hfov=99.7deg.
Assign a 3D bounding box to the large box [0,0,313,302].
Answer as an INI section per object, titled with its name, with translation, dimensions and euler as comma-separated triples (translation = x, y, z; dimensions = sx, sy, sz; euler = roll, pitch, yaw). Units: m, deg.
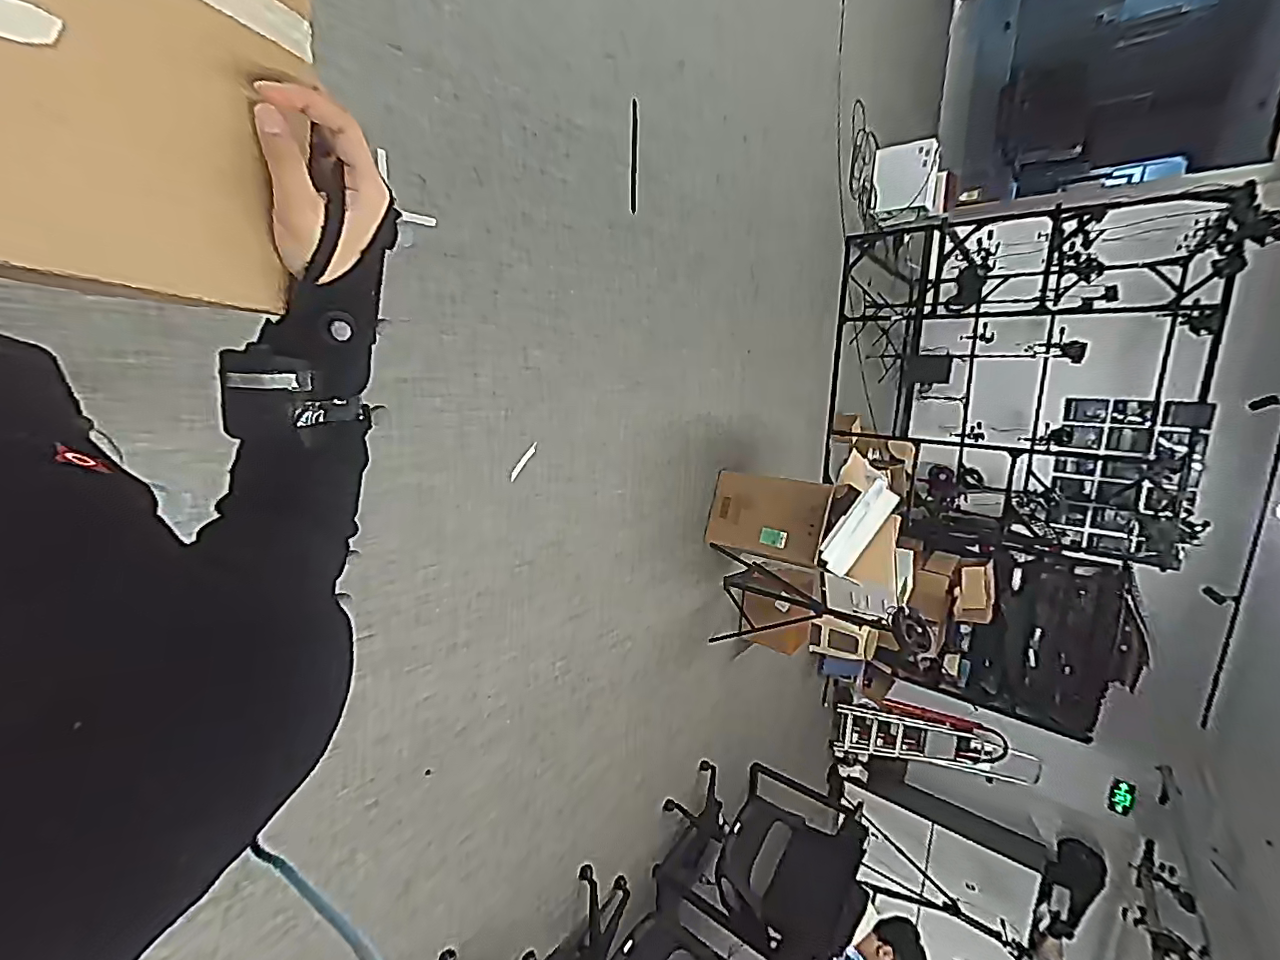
[large box]
translation = -0.431, -0.279, 0.232
dimensions = 0.408, 0.320, 0.320
euler = -8, 110, -60
